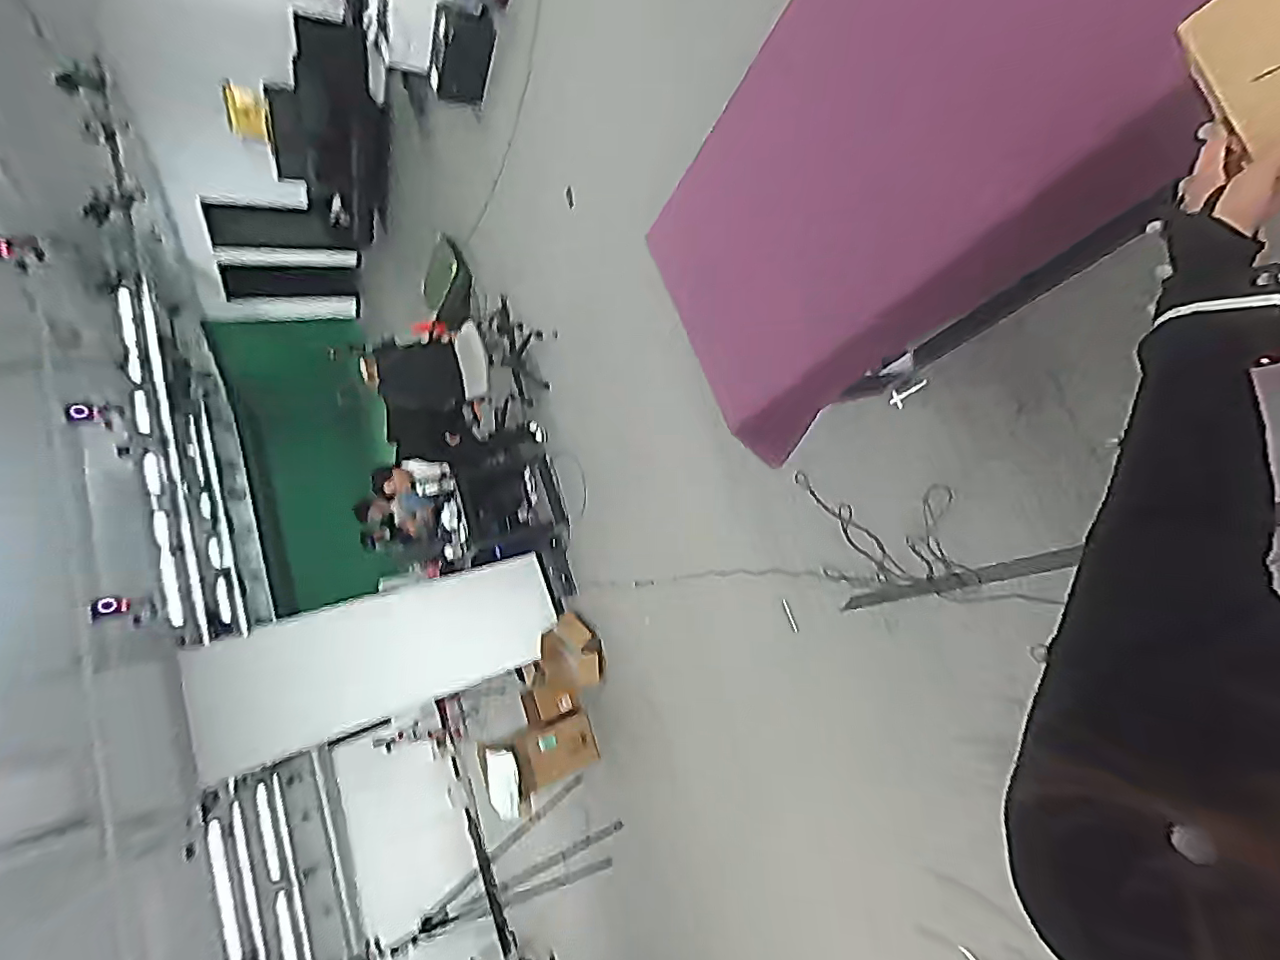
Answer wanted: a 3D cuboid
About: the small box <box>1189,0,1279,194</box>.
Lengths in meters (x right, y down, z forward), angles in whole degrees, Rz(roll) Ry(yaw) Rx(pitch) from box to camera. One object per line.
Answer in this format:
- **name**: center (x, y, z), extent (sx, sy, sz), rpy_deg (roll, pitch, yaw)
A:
- **small box**: center (0.620, -0.374, 0.457), extent (0.179, 0.176, 0.168), rpy_deg (-27, 83, 52)
